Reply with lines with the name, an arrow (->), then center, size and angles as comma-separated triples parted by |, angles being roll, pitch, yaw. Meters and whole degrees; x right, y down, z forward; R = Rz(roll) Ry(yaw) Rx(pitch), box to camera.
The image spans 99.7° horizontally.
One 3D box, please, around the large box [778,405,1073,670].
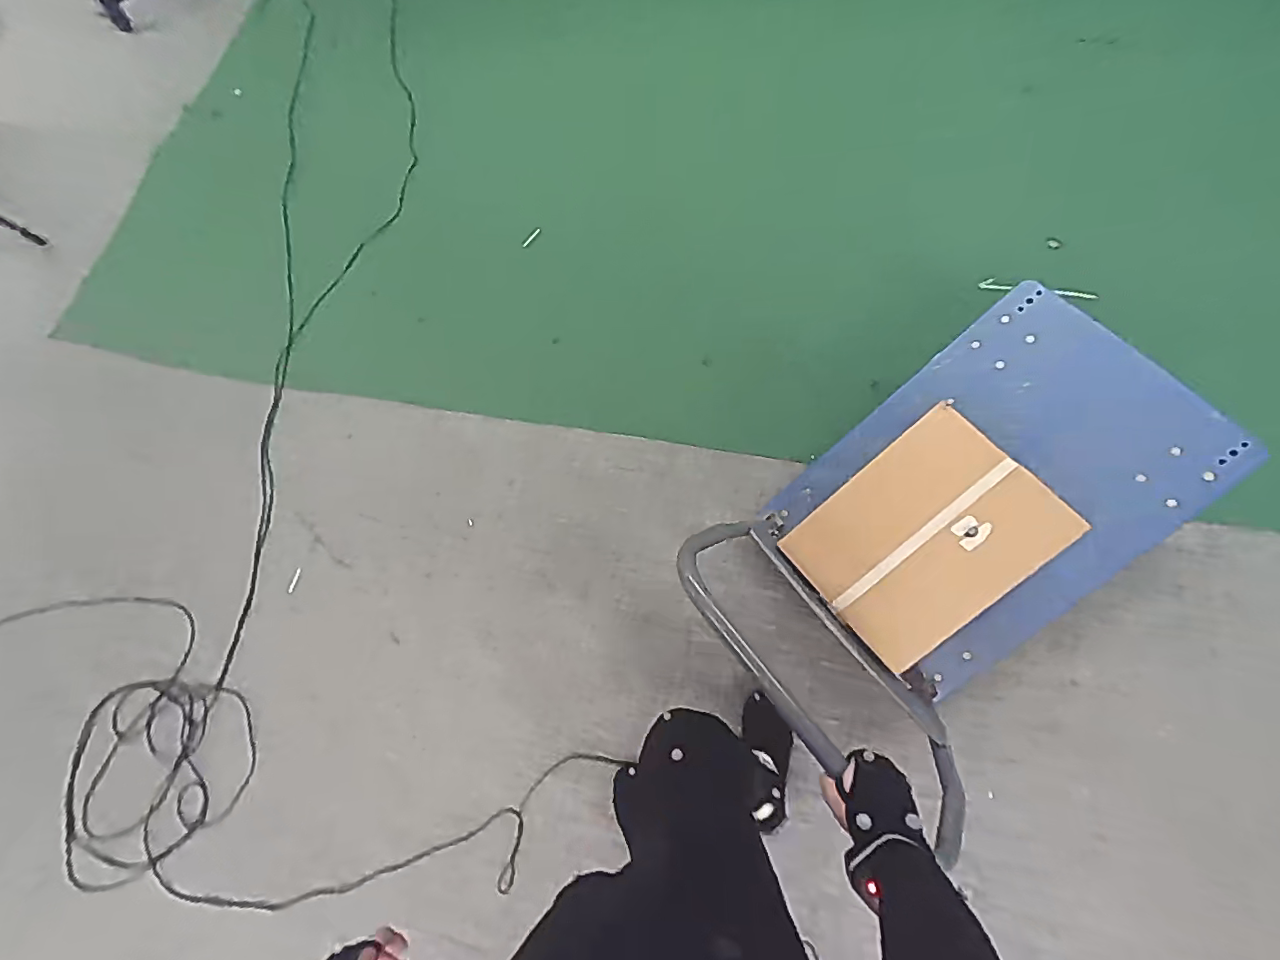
large box -> 0.551, 0.123, 1.127 | 0.408, 0.320, 0.320 | -43, 71, 10
